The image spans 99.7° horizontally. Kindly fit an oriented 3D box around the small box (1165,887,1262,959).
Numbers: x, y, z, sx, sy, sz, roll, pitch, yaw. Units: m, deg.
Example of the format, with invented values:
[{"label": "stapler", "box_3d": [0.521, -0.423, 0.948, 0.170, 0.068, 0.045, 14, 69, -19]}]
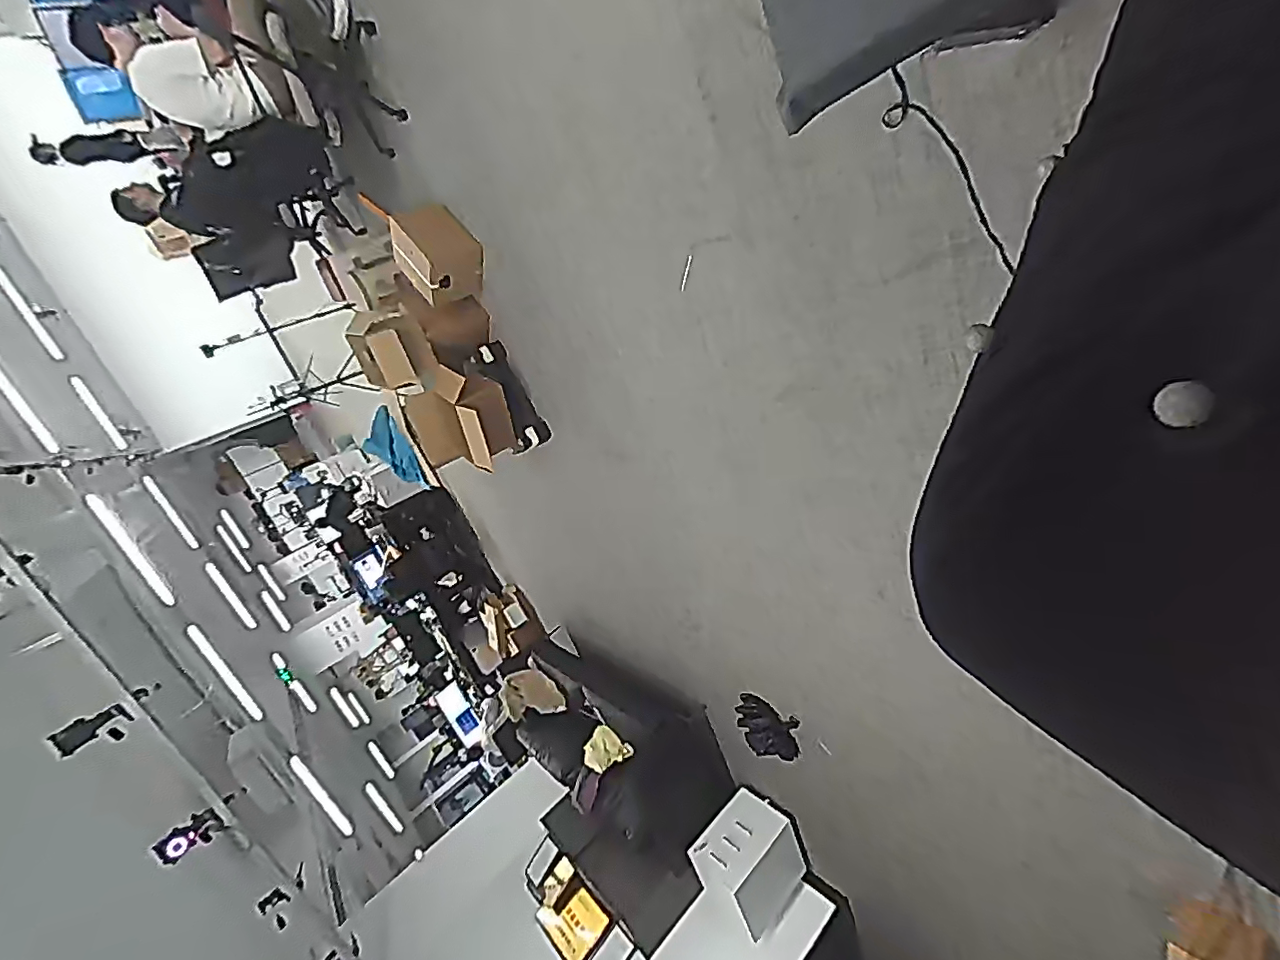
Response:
[{"label": "small box", "box_3d": [1.689, 1.366, 1.593, 0.179, 0.176, 0.168, 9, 126, 53]}]
